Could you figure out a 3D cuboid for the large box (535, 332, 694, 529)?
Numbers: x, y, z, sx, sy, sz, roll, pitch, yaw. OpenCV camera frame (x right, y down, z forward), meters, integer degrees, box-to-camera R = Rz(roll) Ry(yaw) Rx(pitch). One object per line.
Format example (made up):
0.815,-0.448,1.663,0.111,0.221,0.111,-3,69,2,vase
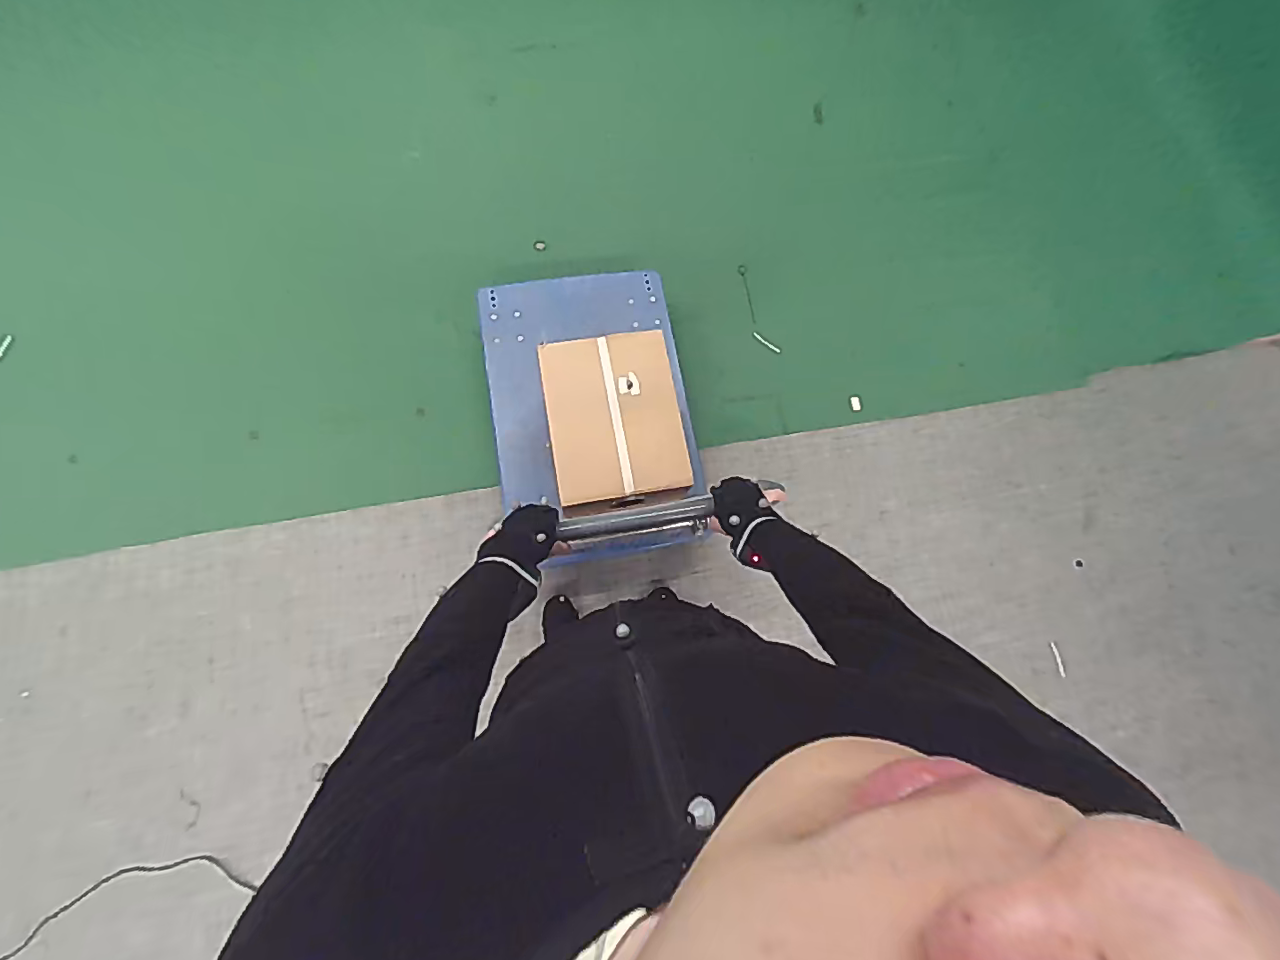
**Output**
-0.076,-0.115,1.415,0.320,0.320,0.408,-9,76,-9,large box
